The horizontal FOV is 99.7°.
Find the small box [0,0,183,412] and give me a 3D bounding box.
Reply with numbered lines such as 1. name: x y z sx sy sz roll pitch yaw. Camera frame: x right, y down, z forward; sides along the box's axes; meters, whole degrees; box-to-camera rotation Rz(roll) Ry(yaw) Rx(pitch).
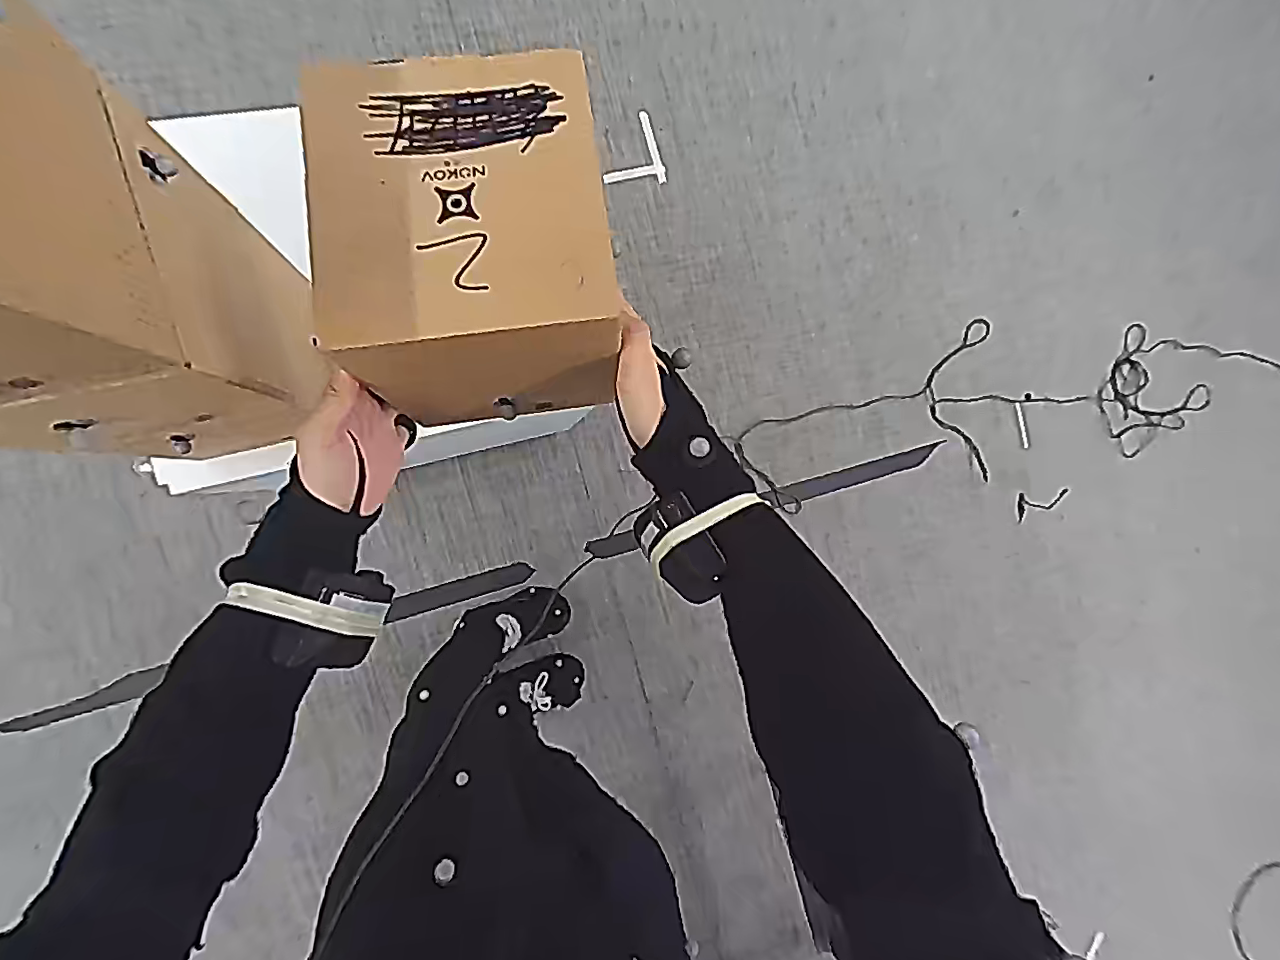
1. small box: -0.334 -0.123 0.206 0.168 0.176 0.179 -17 94 -12

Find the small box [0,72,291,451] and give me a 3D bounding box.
1. small box: -0.372 -0.120 0.364 0.168 0.176 0.179 -16 93 -13

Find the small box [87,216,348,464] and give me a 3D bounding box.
1. small box: -0.410 -0.121 0.523 0.168 0.176 0.179 -15 92 -13
